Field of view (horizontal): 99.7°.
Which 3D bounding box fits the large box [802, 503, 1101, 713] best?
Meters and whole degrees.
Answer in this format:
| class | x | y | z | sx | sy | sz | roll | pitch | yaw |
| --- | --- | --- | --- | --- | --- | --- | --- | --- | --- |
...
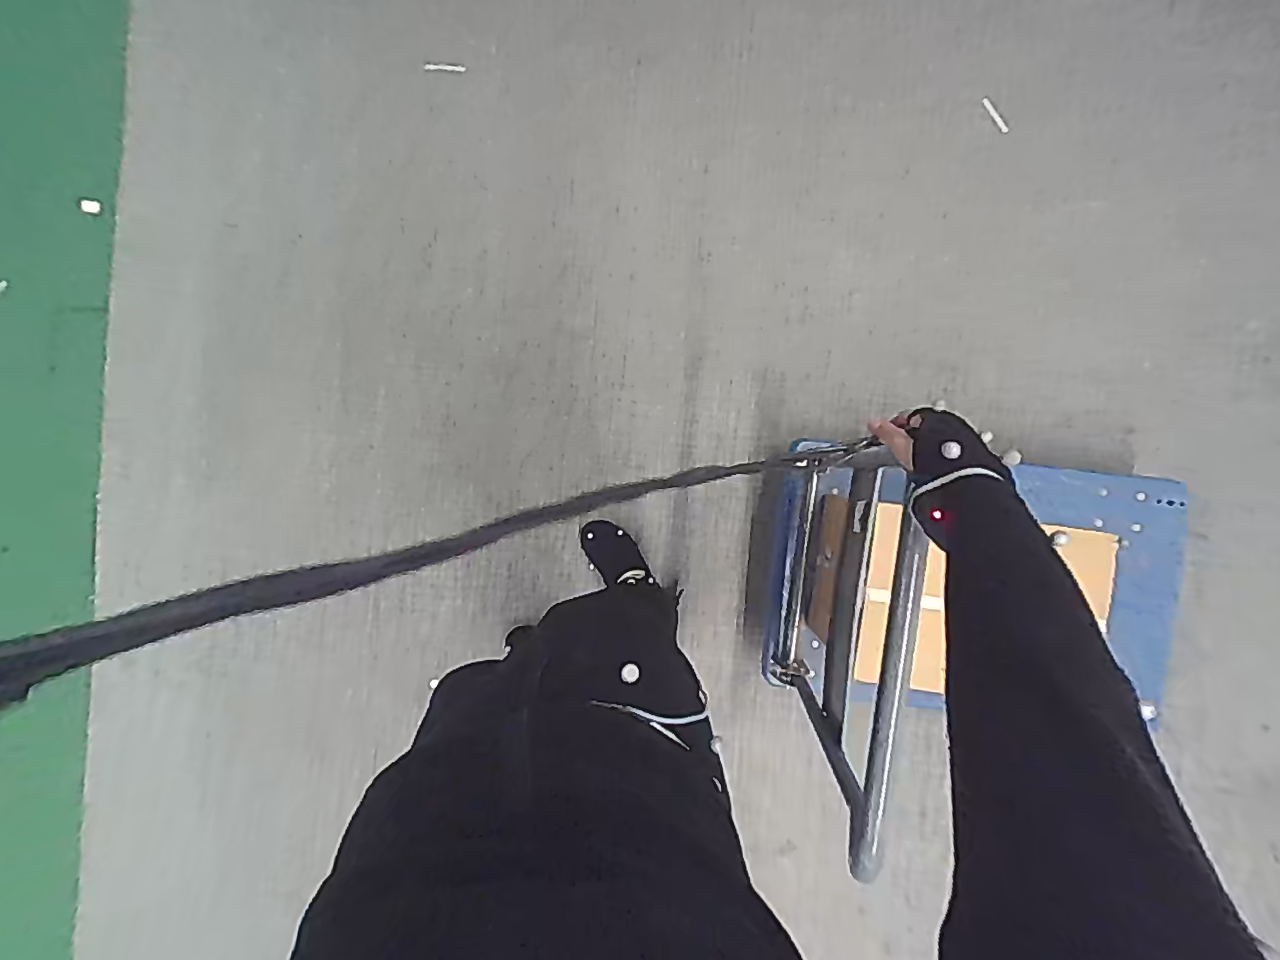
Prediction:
| class | x | y | z | sx | sy | sz | roll | pitch | yaw |
| --- | --- | --- | --- | --- | --- | --- | --- | --- | --- |
| large box | 0.575 | 0.224 | 1.078 | 0.408 | 0.320 | 0.320 | 8 | 92 | 2 |
